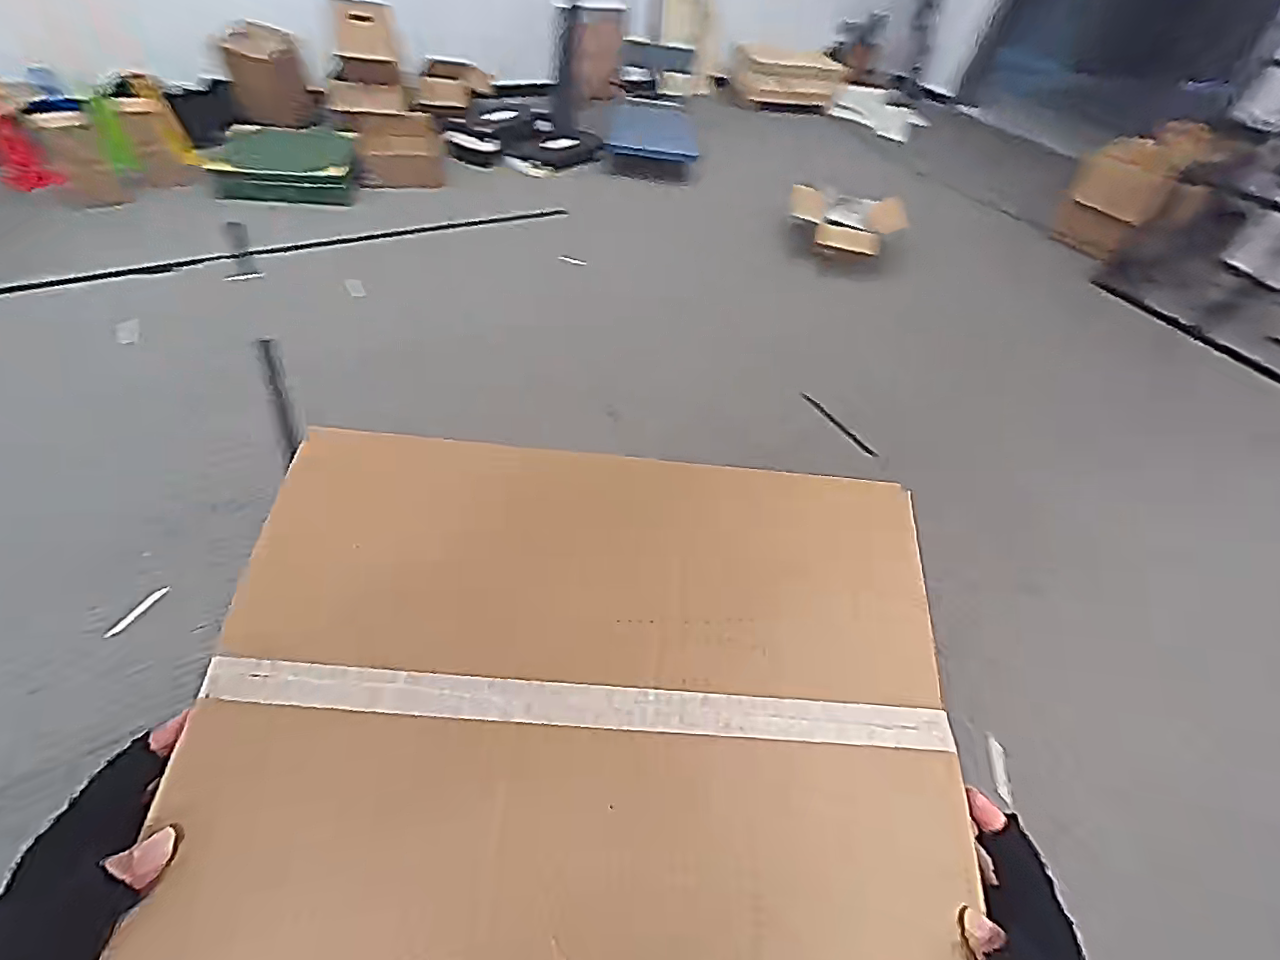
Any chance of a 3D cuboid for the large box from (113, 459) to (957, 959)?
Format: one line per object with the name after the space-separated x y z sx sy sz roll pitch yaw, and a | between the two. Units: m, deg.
-0.047 0.197 0.435 0.408 0.320 0.320 4 63 -3 | large box
